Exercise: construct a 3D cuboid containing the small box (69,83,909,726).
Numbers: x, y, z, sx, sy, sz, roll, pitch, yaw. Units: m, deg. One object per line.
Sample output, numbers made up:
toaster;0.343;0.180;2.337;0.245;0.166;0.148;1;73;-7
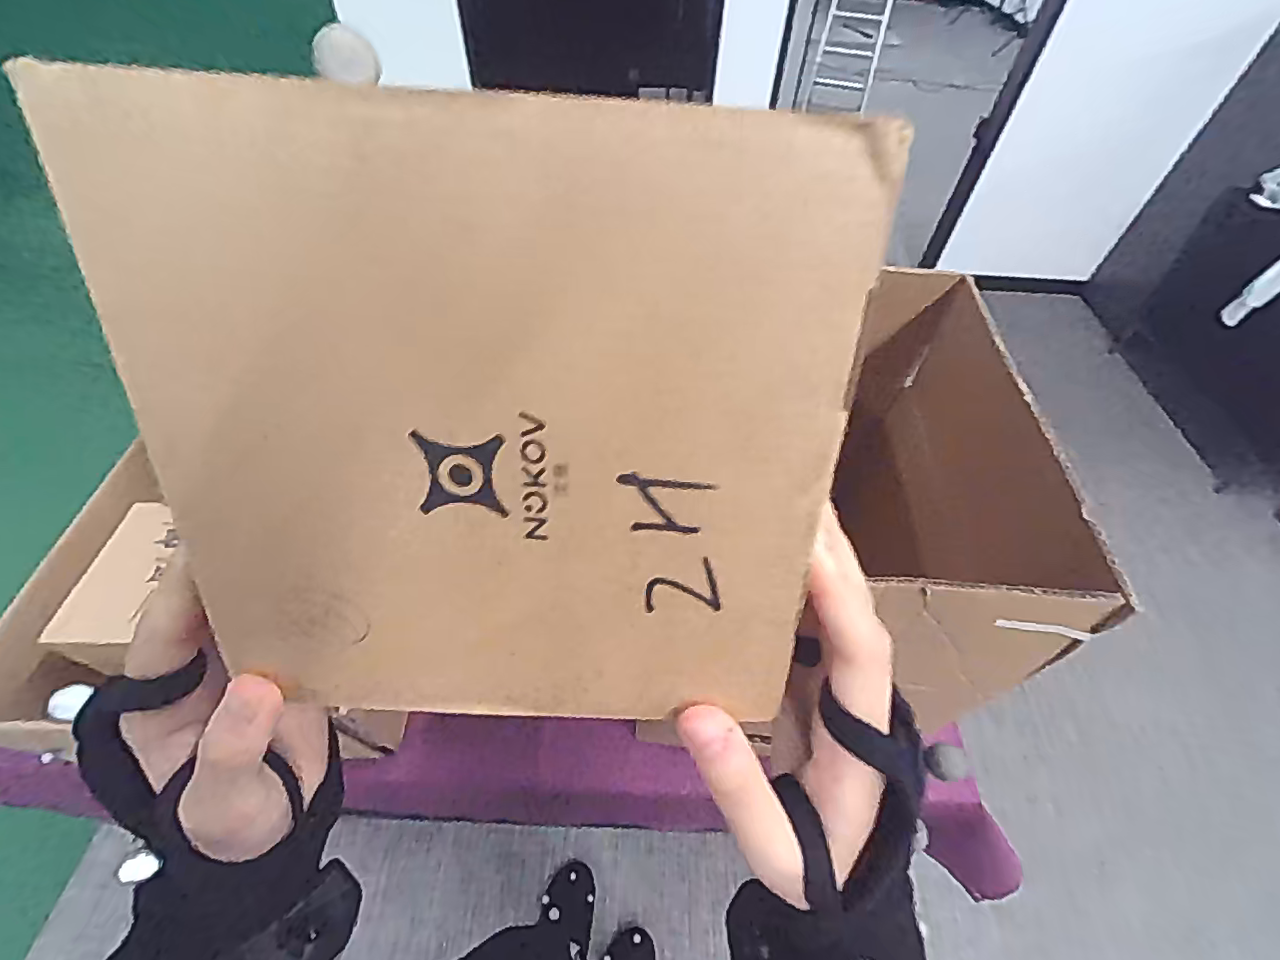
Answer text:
small box;-0.035;-0.034;0.216;0.179;0.168;0.176;4;26;-1
